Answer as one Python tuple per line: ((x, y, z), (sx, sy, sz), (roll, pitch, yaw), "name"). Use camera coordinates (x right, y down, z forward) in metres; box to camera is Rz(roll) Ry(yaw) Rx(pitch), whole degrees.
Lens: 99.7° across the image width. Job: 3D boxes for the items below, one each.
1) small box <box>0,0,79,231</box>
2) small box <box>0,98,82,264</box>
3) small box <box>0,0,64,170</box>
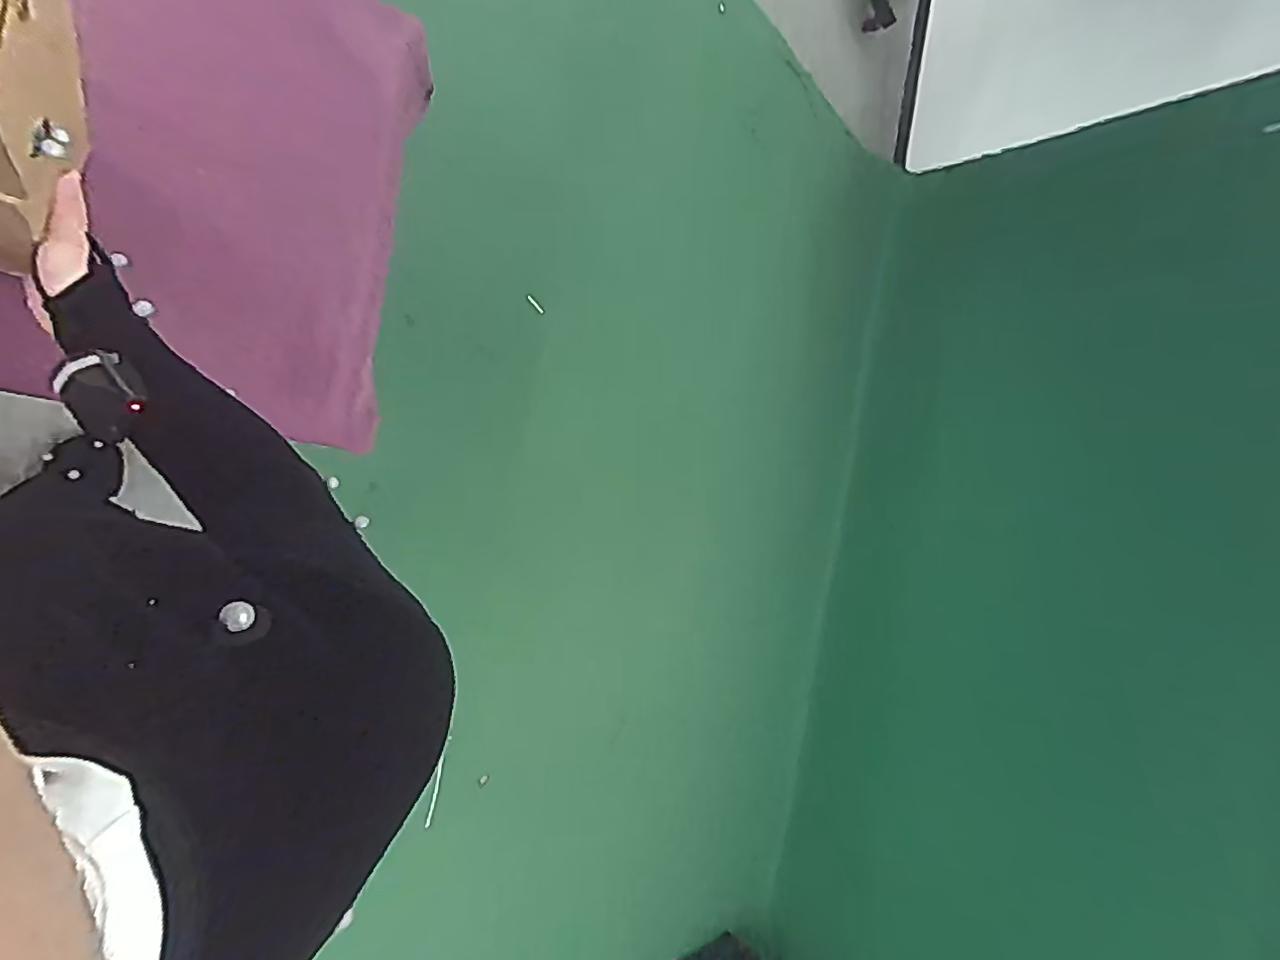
((-0.528, -0.296, 0.370), (0.179, 0.176, 0.168), (12, 89, -44), "small box")
((-0.644, -0.314, 0.484), (0.179, 0.176, 0.168), (15, 86, -45), "small box")
((-0.411, -0.278, 0.256), (0.179, 0.176, 0.168), (10, 90, -44), "small box")
